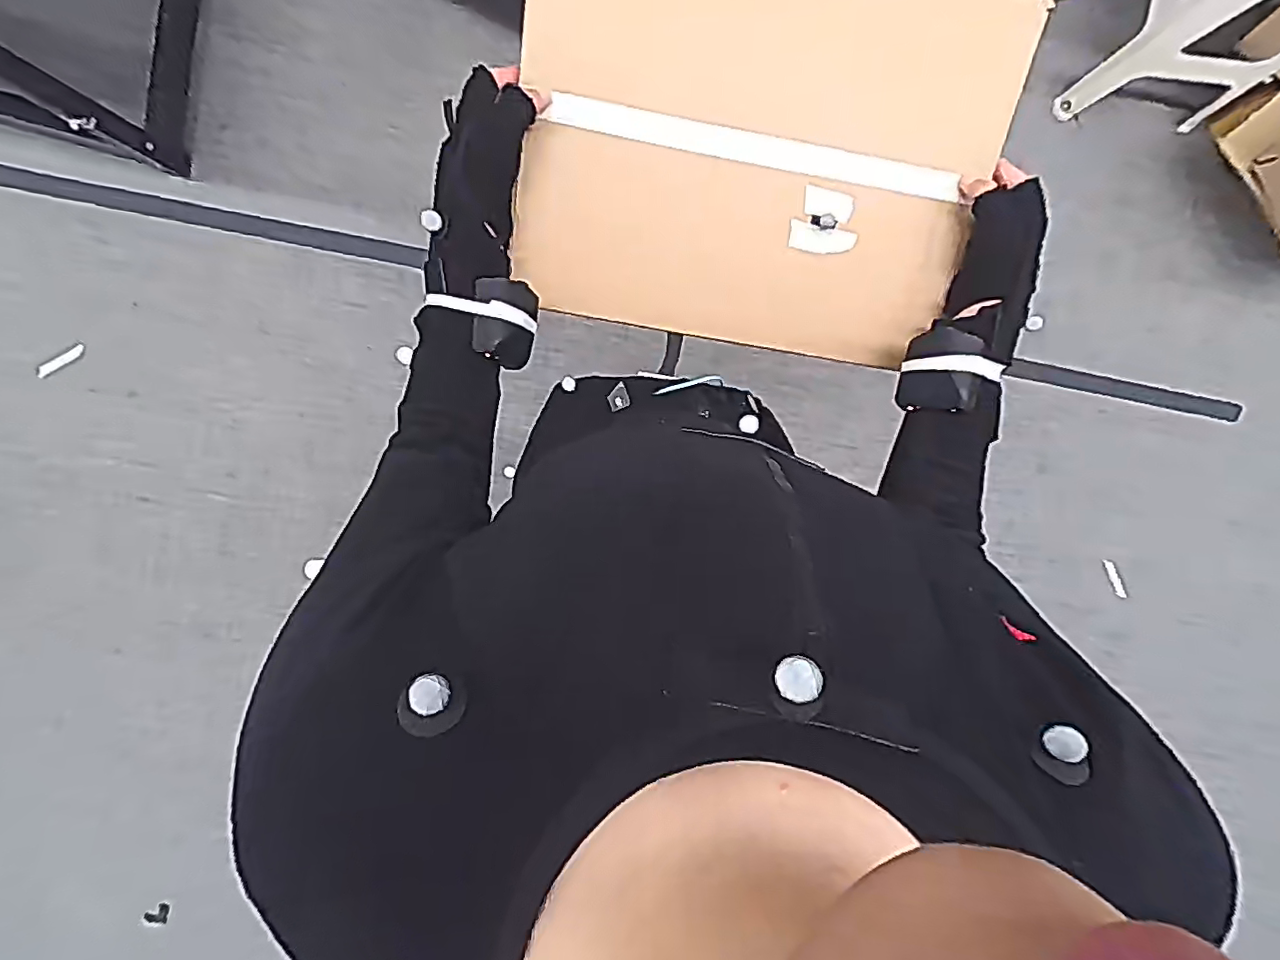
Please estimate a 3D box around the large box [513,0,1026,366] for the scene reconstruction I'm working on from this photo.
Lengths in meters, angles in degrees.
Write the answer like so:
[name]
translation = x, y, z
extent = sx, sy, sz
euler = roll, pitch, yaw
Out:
[large box]
translation = 0.089, -0.327, 0.608
extent = 0.408, 0.320, 0.320
euler = 8, 110, -6
